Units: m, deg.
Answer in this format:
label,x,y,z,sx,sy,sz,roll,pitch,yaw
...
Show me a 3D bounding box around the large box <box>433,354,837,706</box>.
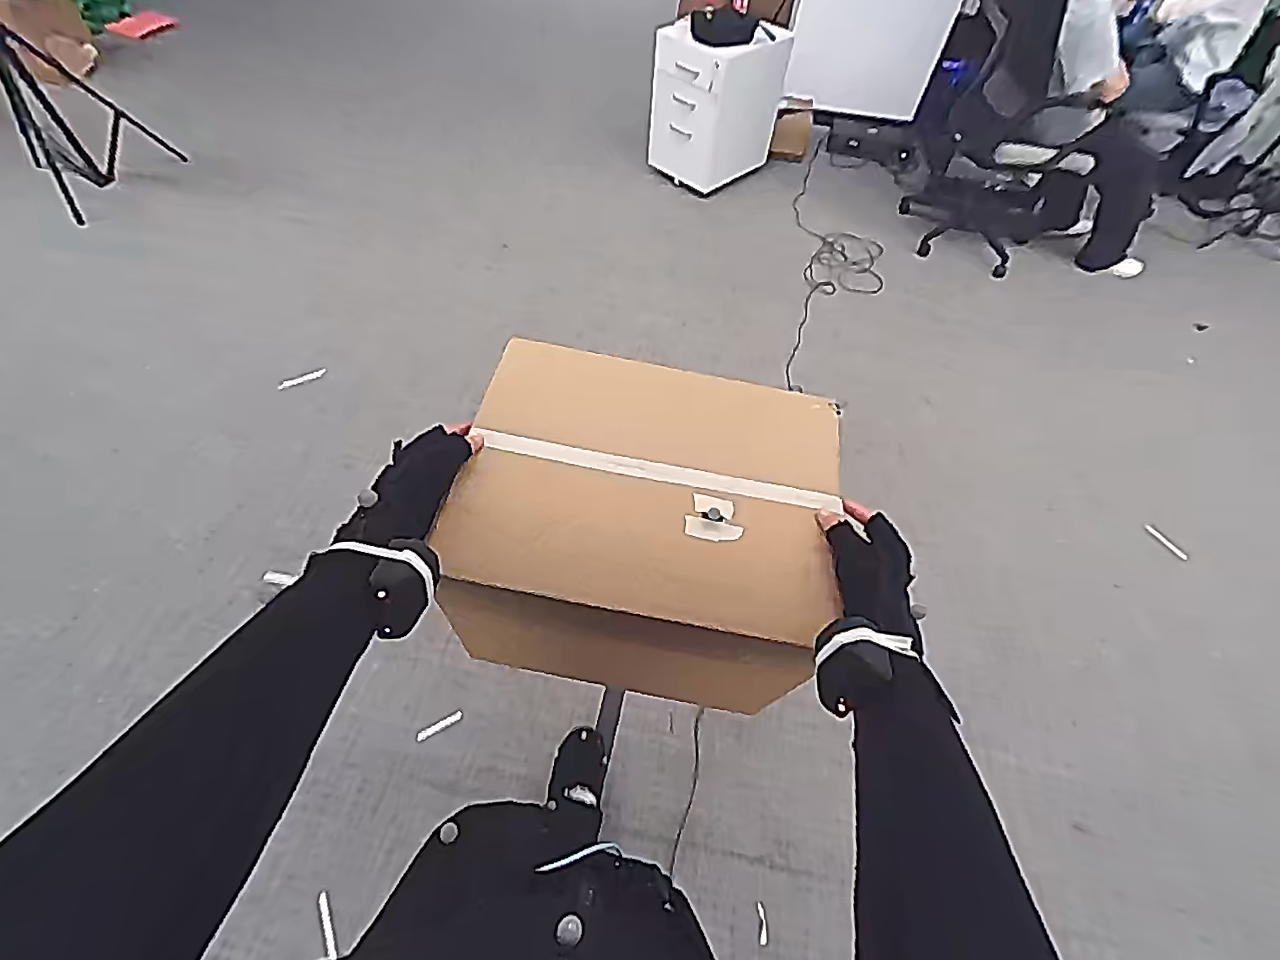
label,x,y,z,sx,sy,sz,roll,pitch,yaw
large box,-0.001,0.080,0.720,0.408,0.320,0.320,11,57,0
